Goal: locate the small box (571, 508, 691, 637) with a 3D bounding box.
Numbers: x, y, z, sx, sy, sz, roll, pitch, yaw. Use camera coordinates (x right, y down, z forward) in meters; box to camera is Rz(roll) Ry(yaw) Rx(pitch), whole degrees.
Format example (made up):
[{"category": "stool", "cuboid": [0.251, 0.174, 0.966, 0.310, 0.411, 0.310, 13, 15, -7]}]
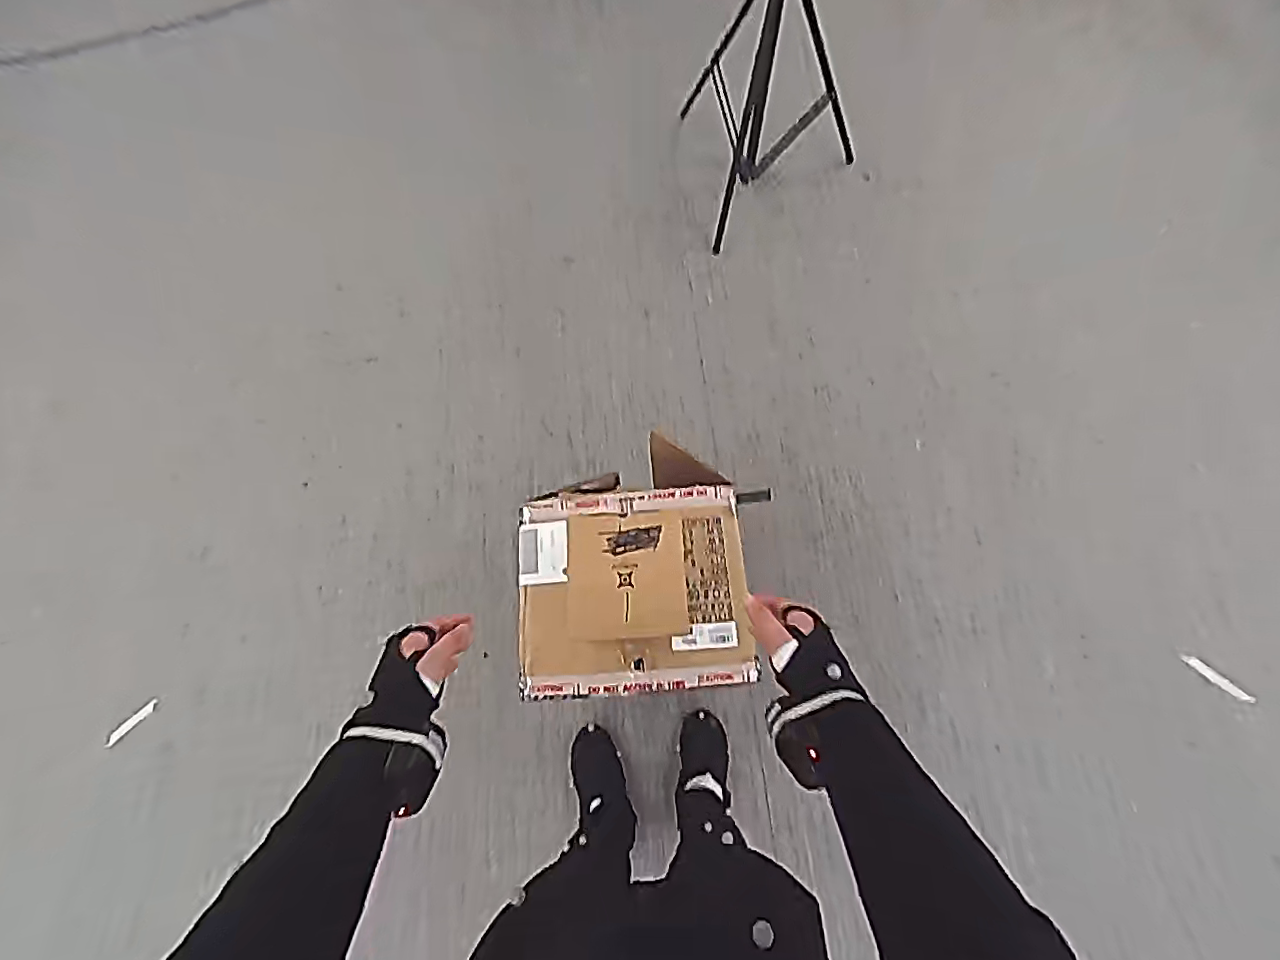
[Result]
[{"category": "small box", "cuboid": [-0.014, 0.148, 0.833, 0.168, 0.176, 0.179, -4, 75, 2]}]
